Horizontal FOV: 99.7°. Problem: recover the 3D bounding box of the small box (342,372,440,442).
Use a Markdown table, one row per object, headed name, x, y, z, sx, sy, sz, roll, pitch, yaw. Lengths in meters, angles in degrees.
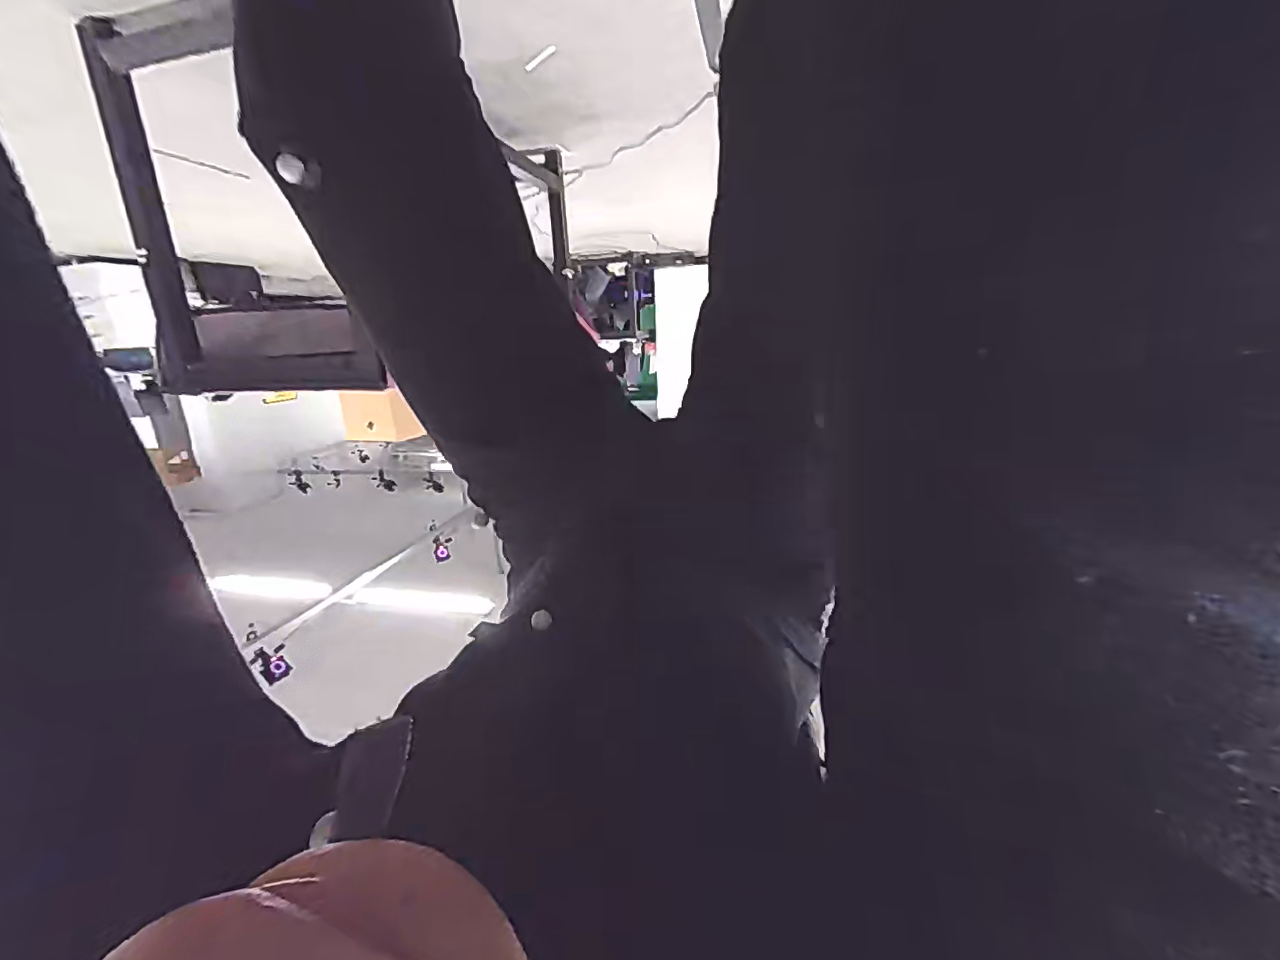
| name | x | y | z | sx | sy | sz | roll | pitch | yaw |
| --- | --- | --- | --- | --- | --- | --- | --- | --- | --- |
| small box | -0.687 | -0.207 | 1.493 | 0.179 | 0.176 | 0.168 | 3 | -163 | 20 |
